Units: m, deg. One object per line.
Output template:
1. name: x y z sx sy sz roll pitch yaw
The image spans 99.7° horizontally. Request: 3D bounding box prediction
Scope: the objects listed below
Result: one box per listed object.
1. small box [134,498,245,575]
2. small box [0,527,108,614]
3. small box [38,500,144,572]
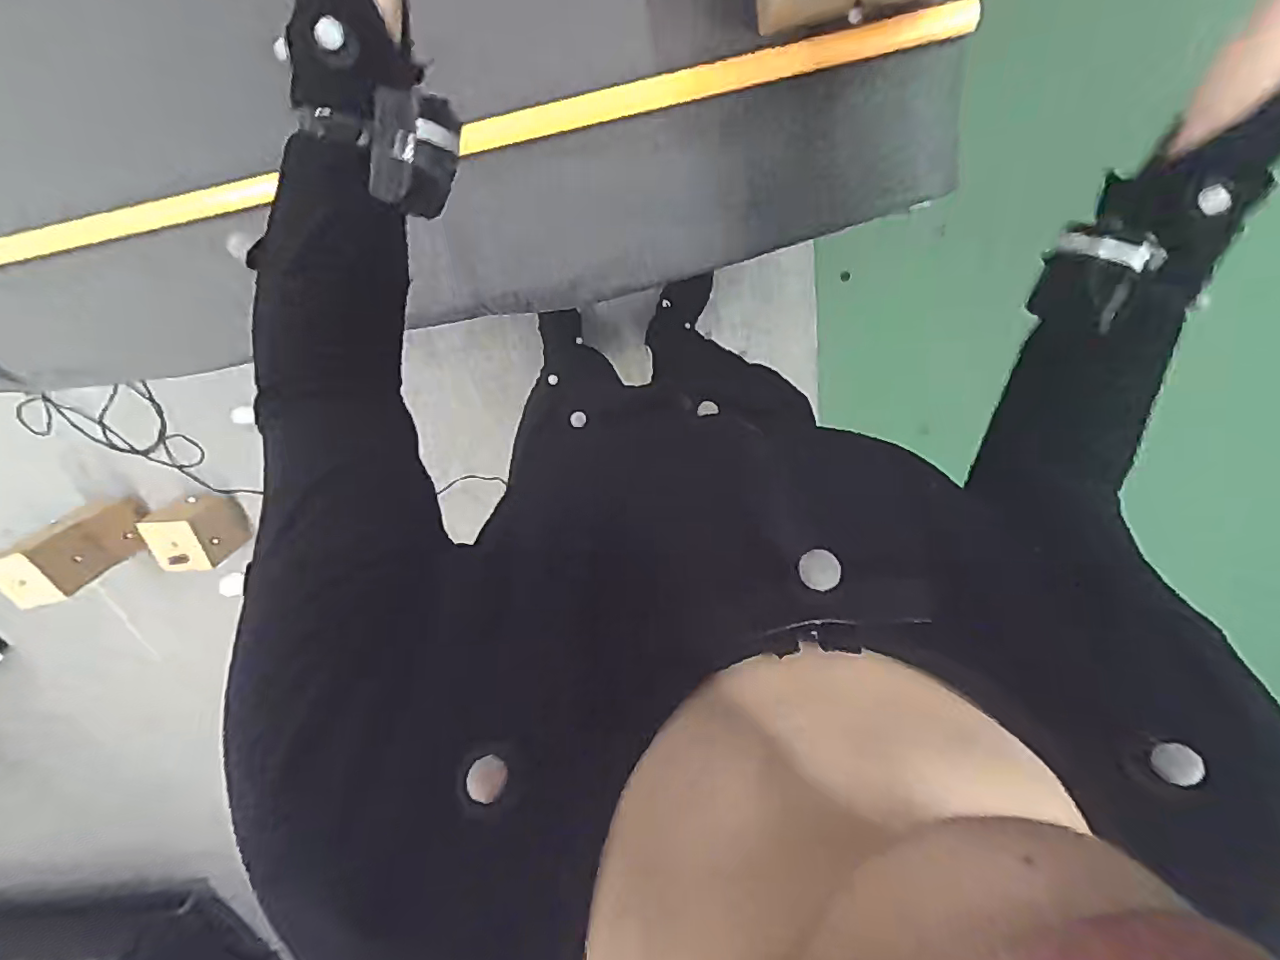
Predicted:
1. small box: -1.373 0.172 1.664 0.168 0.176 0.179 -3 117 5
2. small box: -1.692 0.251 1.540 0.179 0.176 0.168 -12 116 10
3. small box: -1.689 0.180 1.689 0.179 0.176 0.168 -11 117 10
